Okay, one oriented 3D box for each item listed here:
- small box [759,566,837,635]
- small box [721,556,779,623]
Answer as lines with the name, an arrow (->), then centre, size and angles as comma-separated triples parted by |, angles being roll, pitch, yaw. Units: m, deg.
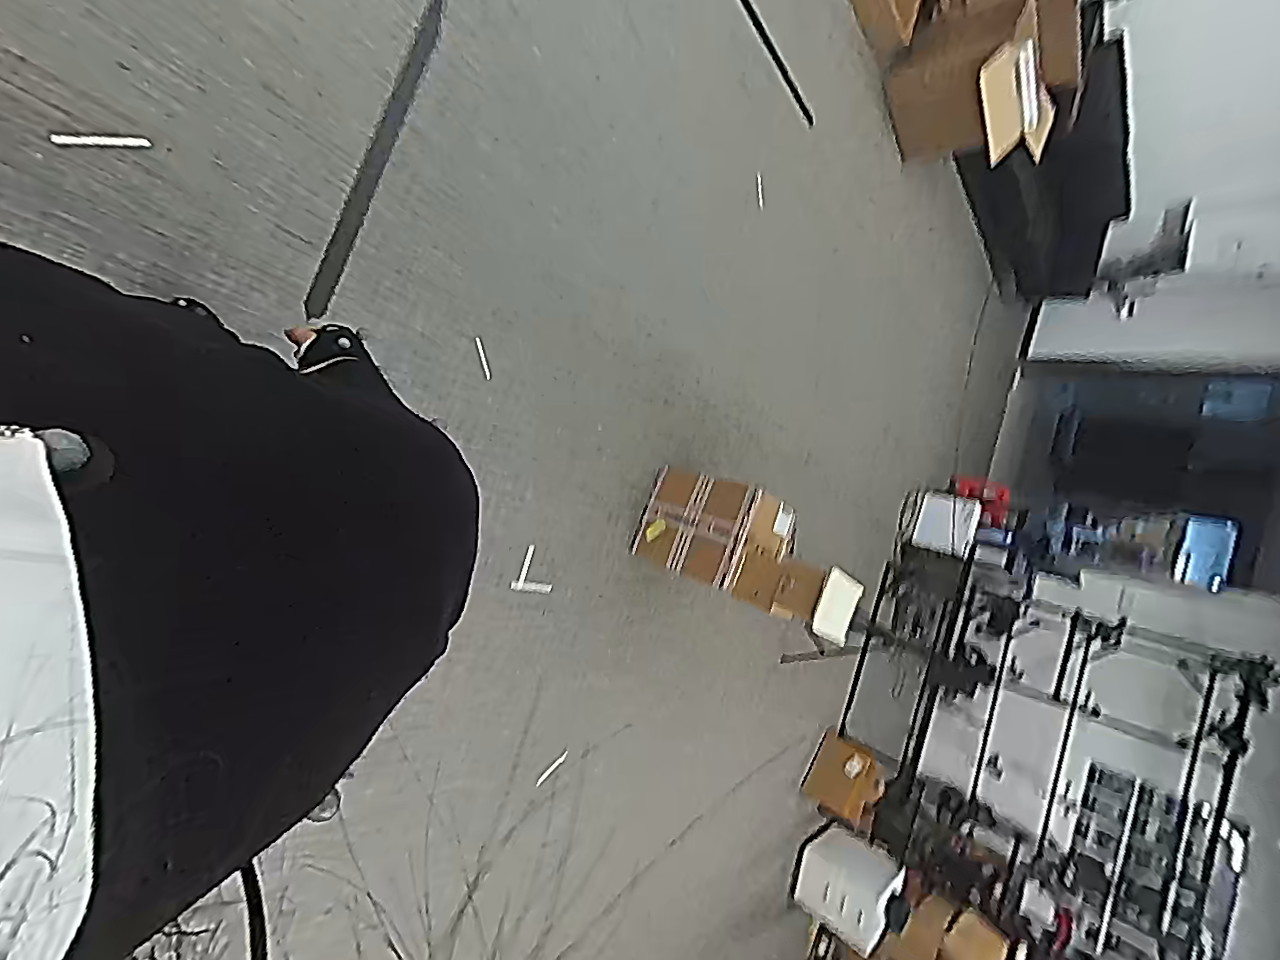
small box -> 0.538, 0.409, 1.848 | 0.179, 0.176, 0.168 | 32, 79, -44
small box -> 0.419, 0.395, 1.963 | 0.168, 0.176, 0.179 | 27, 82, -45
